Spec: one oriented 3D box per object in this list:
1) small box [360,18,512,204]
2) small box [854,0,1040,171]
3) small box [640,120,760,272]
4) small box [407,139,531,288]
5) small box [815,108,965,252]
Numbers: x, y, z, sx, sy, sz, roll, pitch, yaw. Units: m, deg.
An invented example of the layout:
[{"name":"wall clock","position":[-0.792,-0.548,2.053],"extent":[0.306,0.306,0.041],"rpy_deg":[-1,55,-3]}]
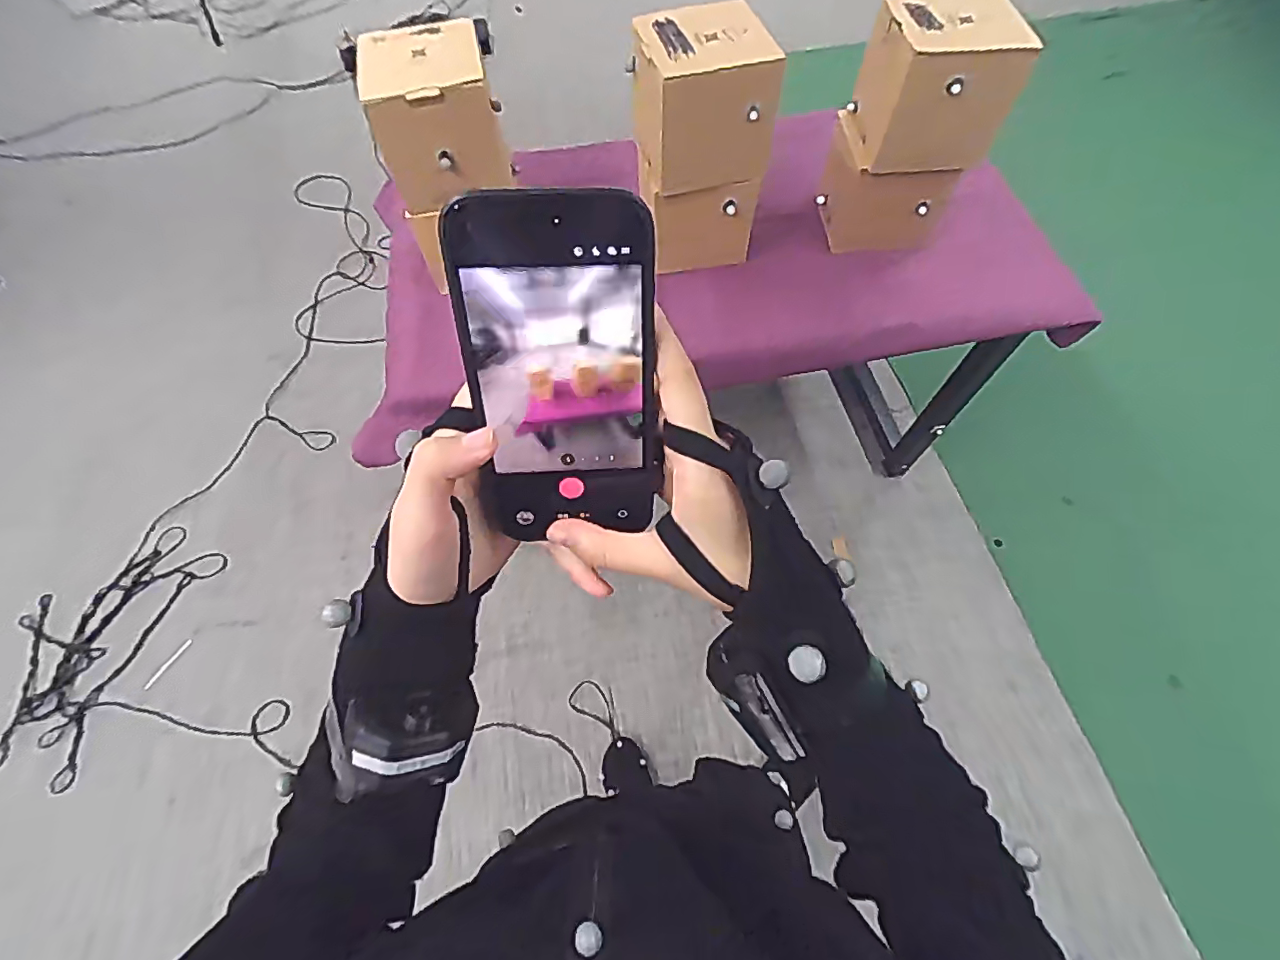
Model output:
[{"name":"small box","position":[-0.298,-0.541,0.813],"extent":[0.168,0.176,0.179],"rpy_deg":[-12,65,-5]},{"name":"small box","position":[0.441,-0.594,0.819],"extent":[0.179,0.176,0.168],"rpy_deg":[-3,63,0]},{"name":"small box","position":[0.096,-0.499,0.962],"extent":[0.179,0.176,0.168],"rpy_deg":[-8,63,-2]},{"name":"small box","position":[-0.293,-0.461,0.957],"extent":[0.168,0.176,0.179],"rpy_deg":[-8,64,-2]},{"name":"small box","position":[0.435,-0.534,0.971],"extent":[0.179,0.176,0.168],"rpy_deg":[-3,63,1]}]
